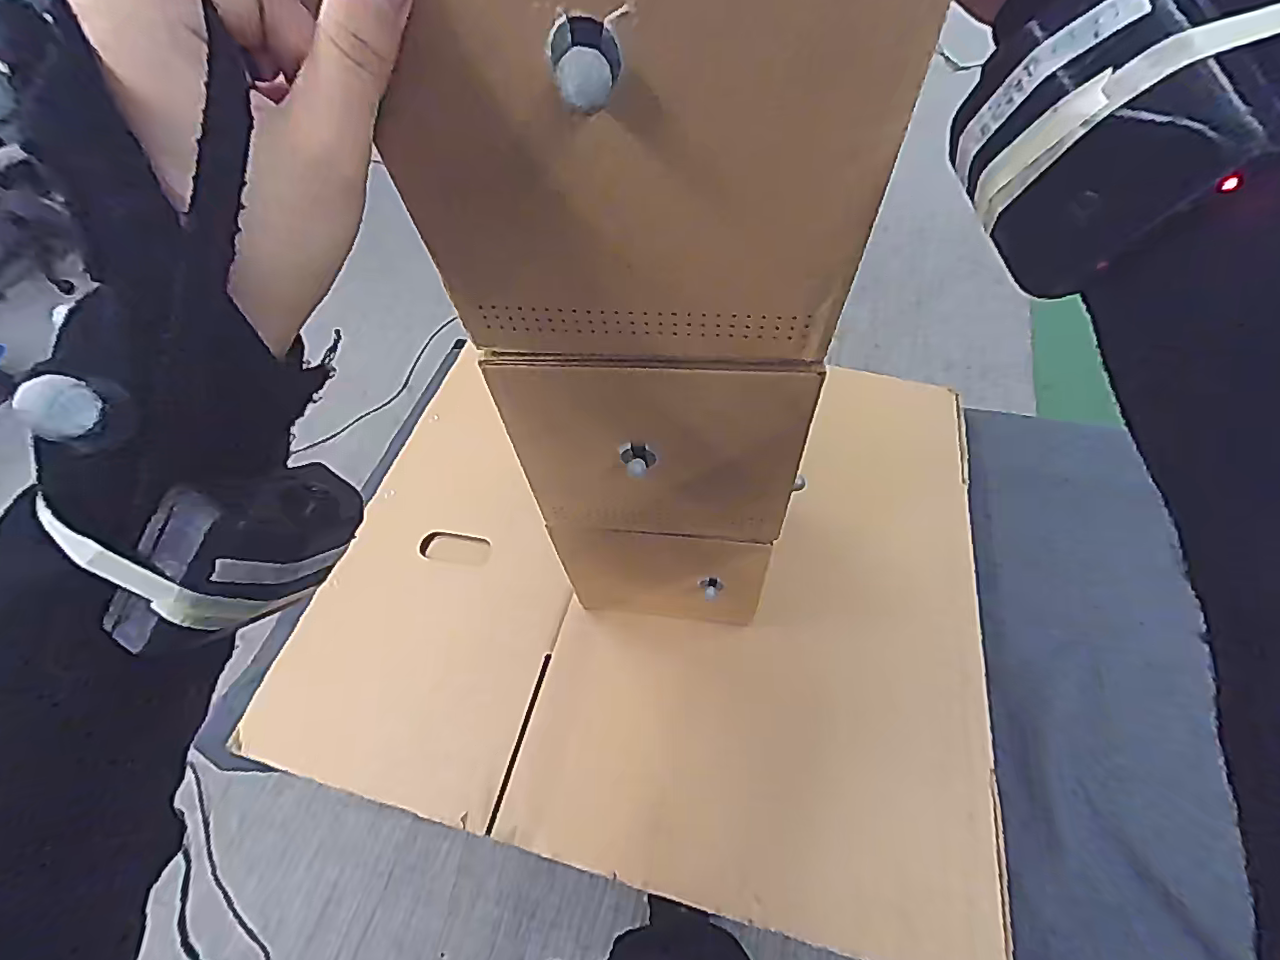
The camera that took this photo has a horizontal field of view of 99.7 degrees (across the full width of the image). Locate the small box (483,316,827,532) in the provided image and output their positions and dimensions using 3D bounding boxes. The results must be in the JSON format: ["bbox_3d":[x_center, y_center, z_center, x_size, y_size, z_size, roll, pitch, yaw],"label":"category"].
[{"bbox_3d":[0.019,-0.075,0.378,0.179,0.176,0.168,3,55,8],"label":"small box"}]

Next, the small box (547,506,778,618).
[{"bbox_3d":[0.030,0.021,0.512,0.179,0.176,0.168,3,55,8],"label":"small box"}]

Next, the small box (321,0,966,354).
[{"bbox_3d":[0.009,-0.170,0.231,0.179,0.176,0.168,3,63,7],"label":"small box"}]
